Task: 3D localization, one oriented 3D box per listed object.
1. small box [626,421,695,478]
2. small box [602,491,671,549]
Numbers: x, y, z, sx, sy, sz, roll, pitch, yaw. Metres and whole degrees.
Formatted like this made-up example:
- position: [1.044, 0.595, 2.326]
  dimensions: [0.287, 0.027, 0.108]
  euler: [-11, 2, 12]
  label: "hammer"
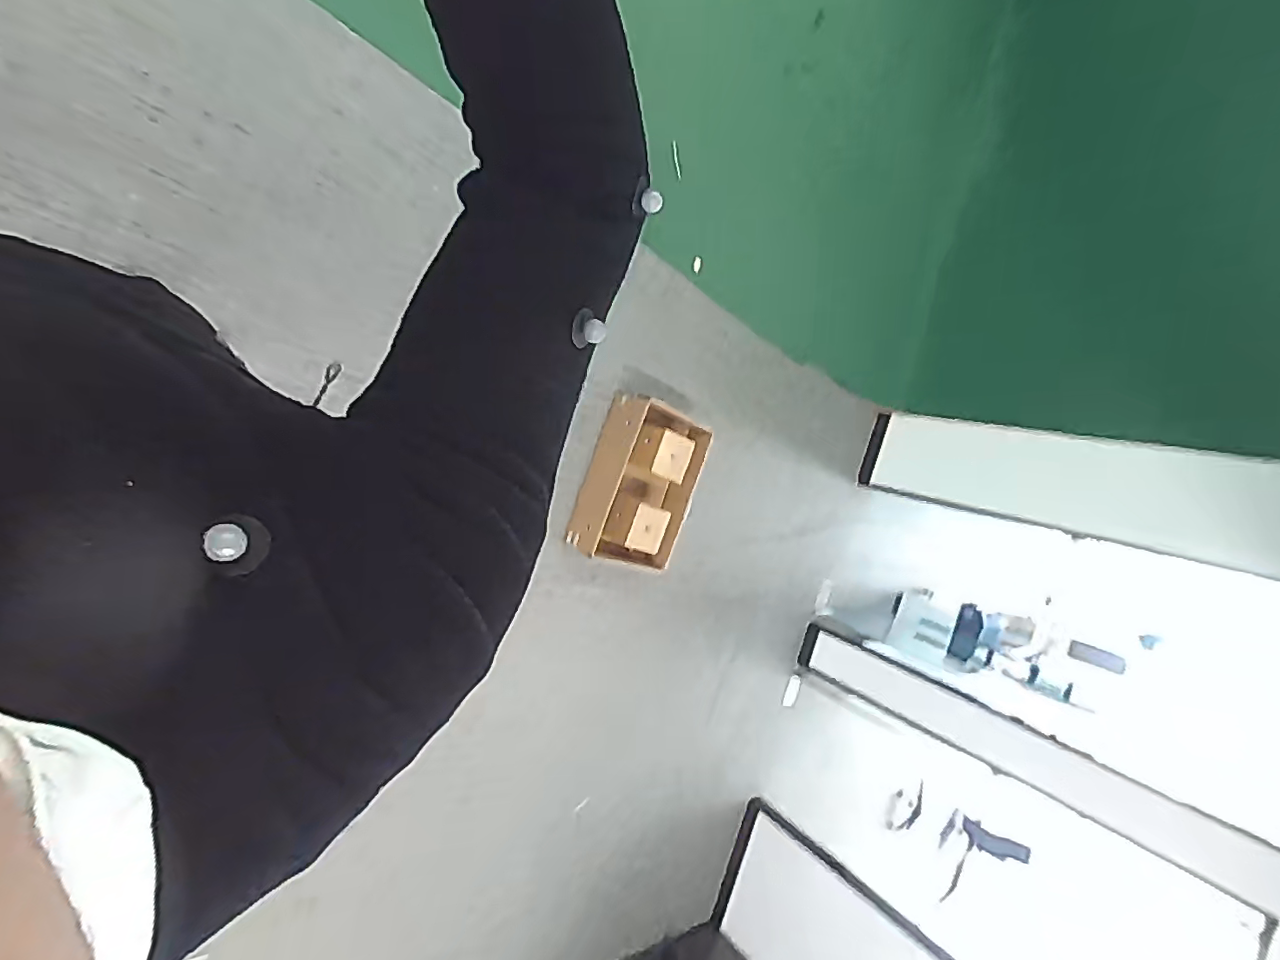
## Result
- position: [0.074, -0.121, 2.076]
  dimensions: [0.179, 0.176, 0.168]
  euler: [20, 90, -43]
  label: "small box"
- position: [-0.017, 0.150, 2.076]
  dimensions: [0.179, 0.176, 0.168]
  euler: [21, 89, -42]
  label: "small box"
